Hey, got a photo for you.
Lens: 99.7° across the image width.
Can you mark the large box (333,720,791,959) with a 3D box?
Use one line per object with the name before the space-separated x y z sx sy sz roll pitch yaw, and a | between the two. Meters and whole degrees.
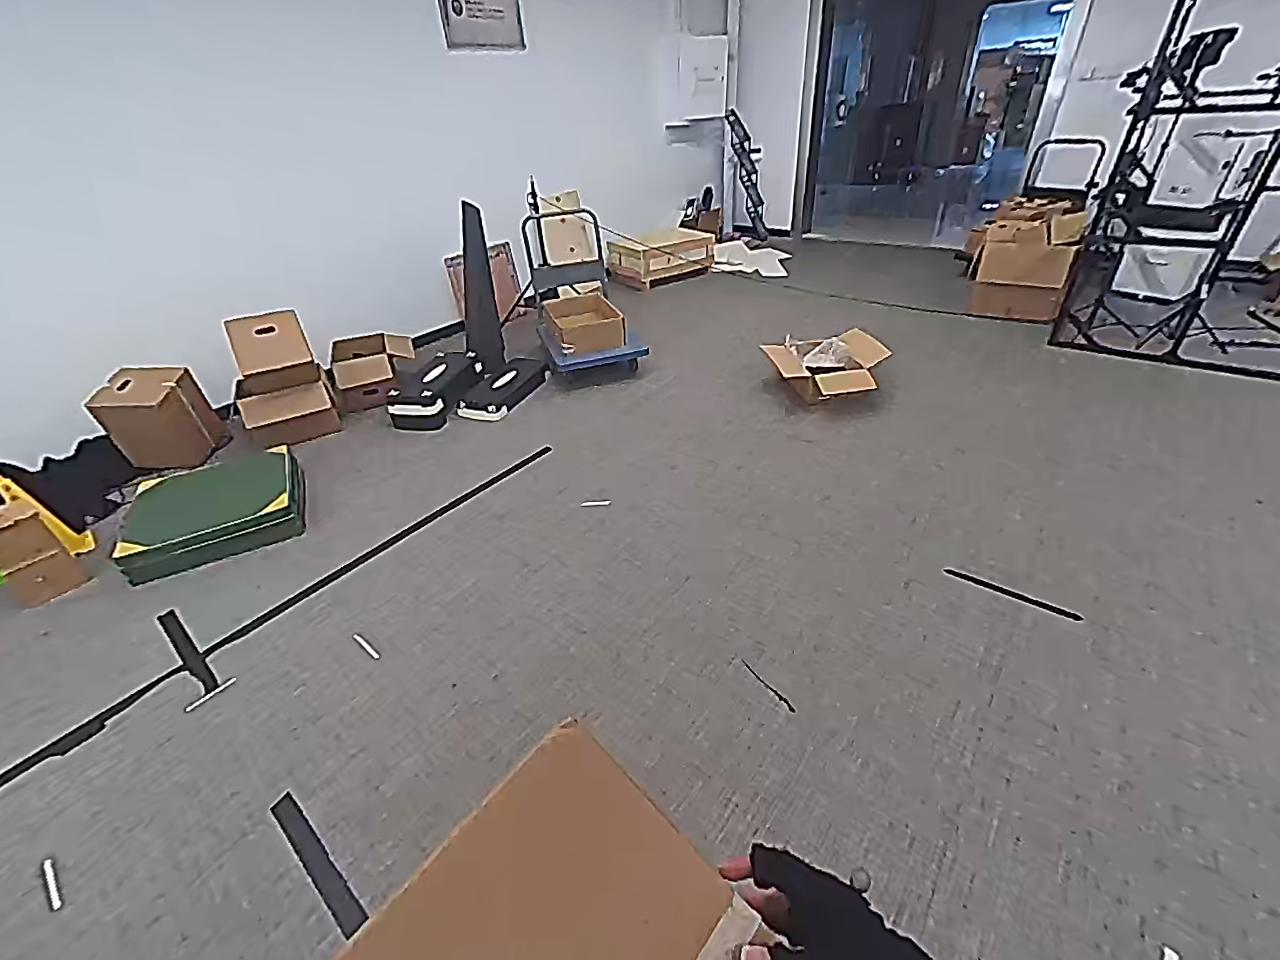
large box | -0.103 0.449 0.362 0.320 0.320 0.408 43 59 12
